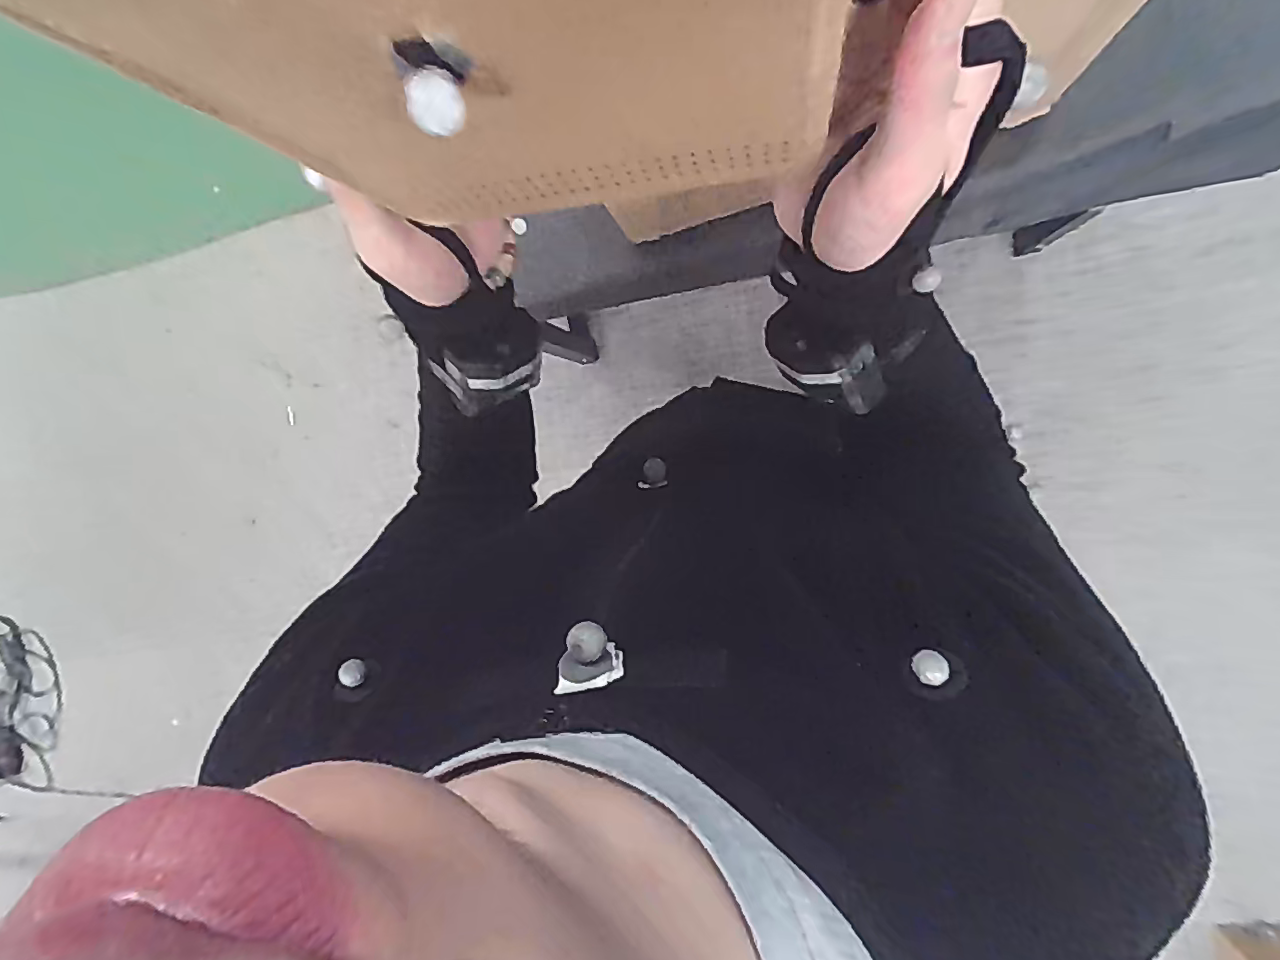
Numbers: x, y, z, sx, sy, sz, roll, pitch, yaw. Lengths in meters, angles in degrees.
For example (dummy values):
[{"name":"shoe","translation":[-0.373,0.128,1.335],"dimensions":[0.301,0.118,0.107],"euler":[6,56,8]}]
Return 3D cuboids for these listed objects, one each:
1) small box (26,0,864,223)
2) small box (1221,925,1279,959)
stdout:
[{"name":"small box","translation":[-0.033,-0.184,0.141],"dimensions":[0.179,0.176,0.168],"euler":[-1,99,16]},{"name":"small box","translation":[1.541,1.203,1.272],"dimensions":[0.168,0.176,0.179],"euler":[-12,92,12]}]
